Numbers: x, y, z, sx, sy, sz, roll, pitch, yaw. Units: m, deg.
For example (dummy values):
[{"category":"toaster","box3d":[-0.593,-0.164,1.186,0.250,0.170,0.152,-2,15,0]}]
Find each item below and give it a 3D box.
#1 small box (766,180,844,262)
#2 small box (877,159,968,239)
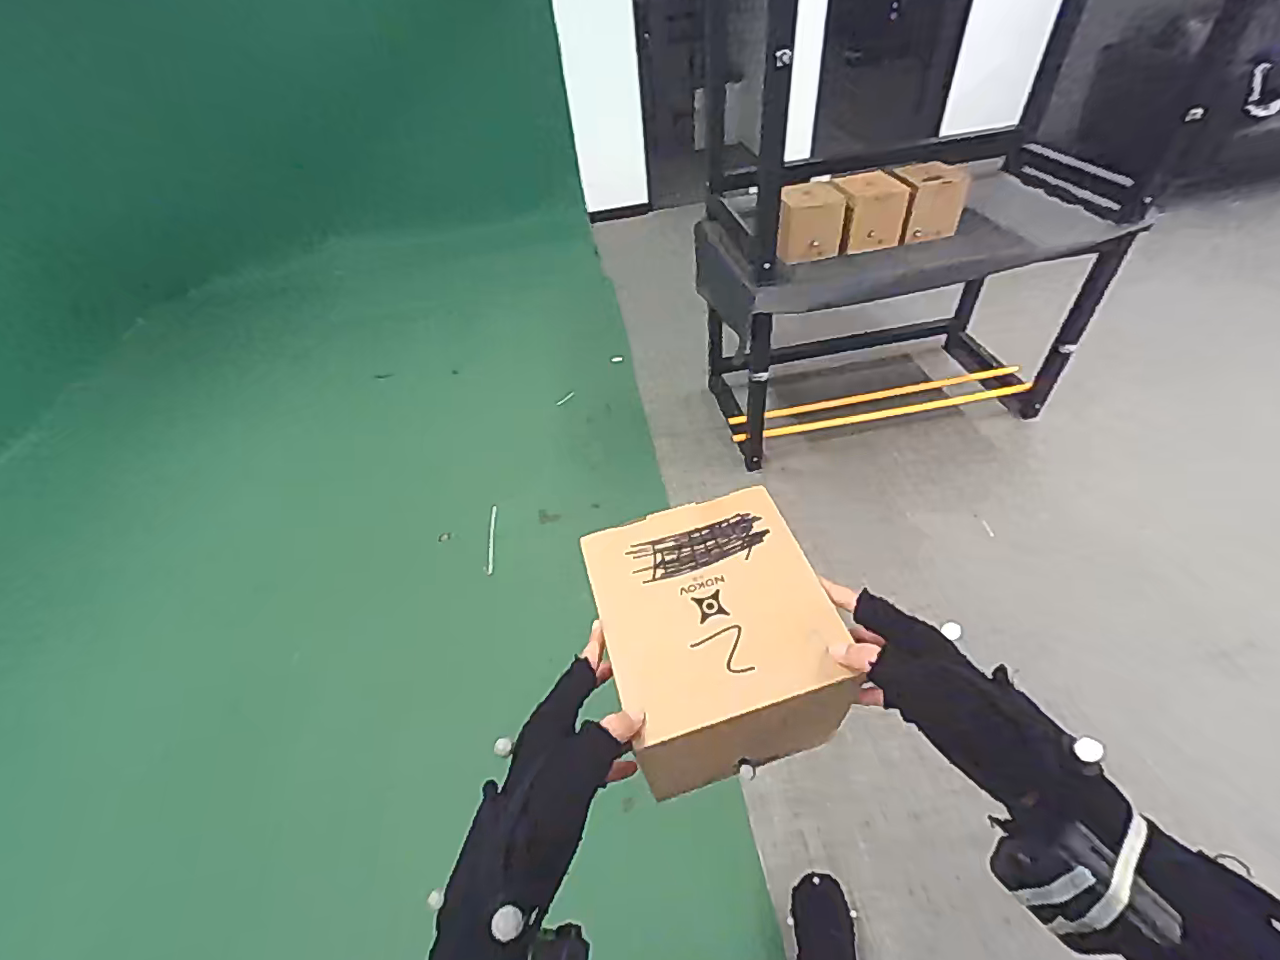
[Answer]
[{"category":"small box","box3d":[0.489,-0.782,1.632,0.168,0.176,0.179,-12,45,-4]},{"category":"small box","box3d":[0.855,-0.855,1.656,0.168,0.176,0.179,-12,44,-4]}]
